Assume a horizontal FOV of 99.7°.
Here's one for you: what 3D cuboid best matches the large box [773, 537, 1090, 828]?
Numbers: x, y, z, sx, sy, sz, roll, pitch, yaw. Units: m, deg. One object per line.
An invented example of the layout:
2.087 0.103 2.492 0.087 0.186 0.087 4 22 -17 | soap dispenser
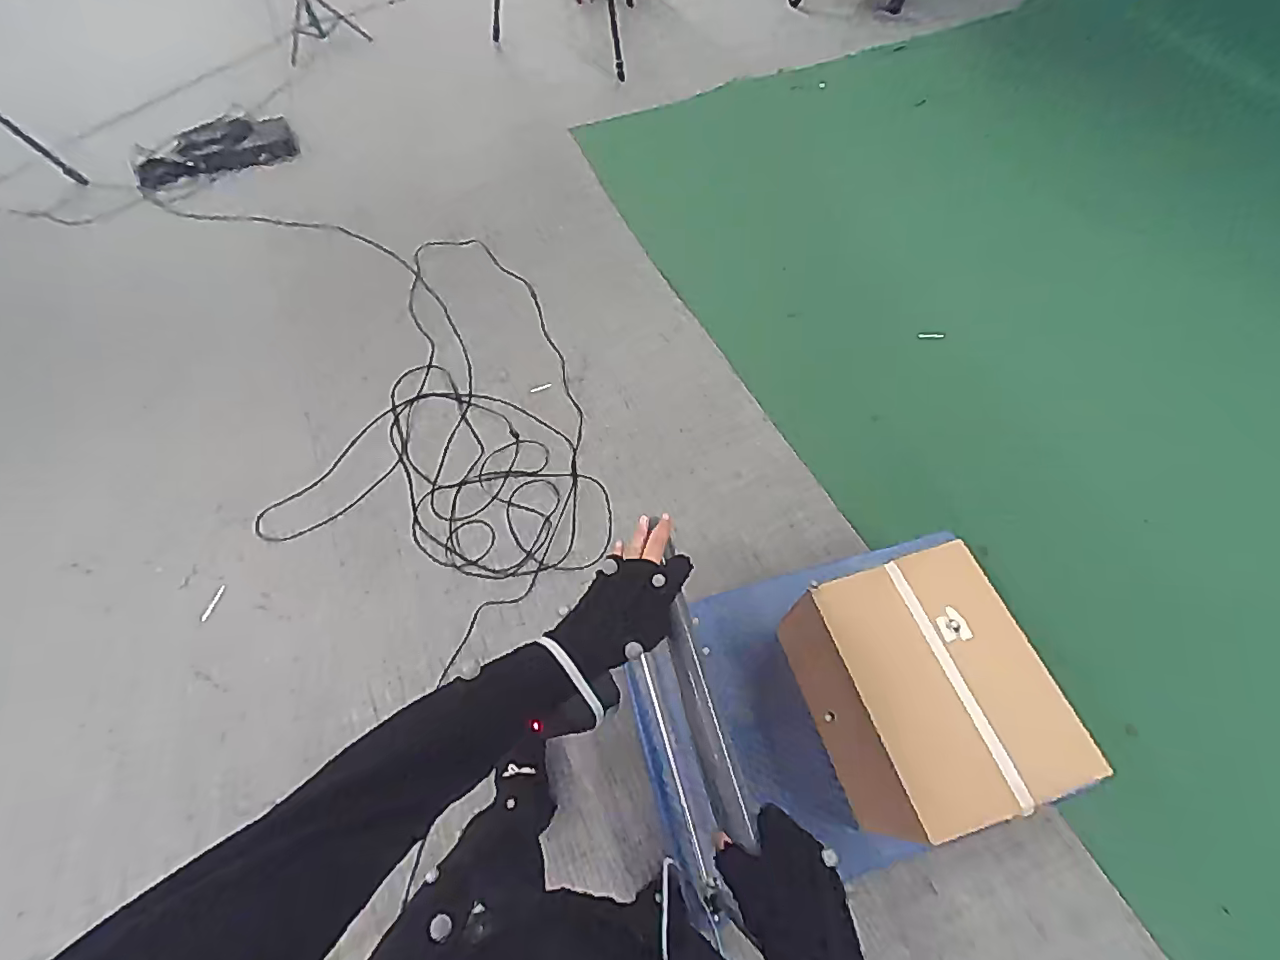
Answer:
0.500 0.384 1.038 0.320 0.320 0.408 -15 62 -8 | large box
